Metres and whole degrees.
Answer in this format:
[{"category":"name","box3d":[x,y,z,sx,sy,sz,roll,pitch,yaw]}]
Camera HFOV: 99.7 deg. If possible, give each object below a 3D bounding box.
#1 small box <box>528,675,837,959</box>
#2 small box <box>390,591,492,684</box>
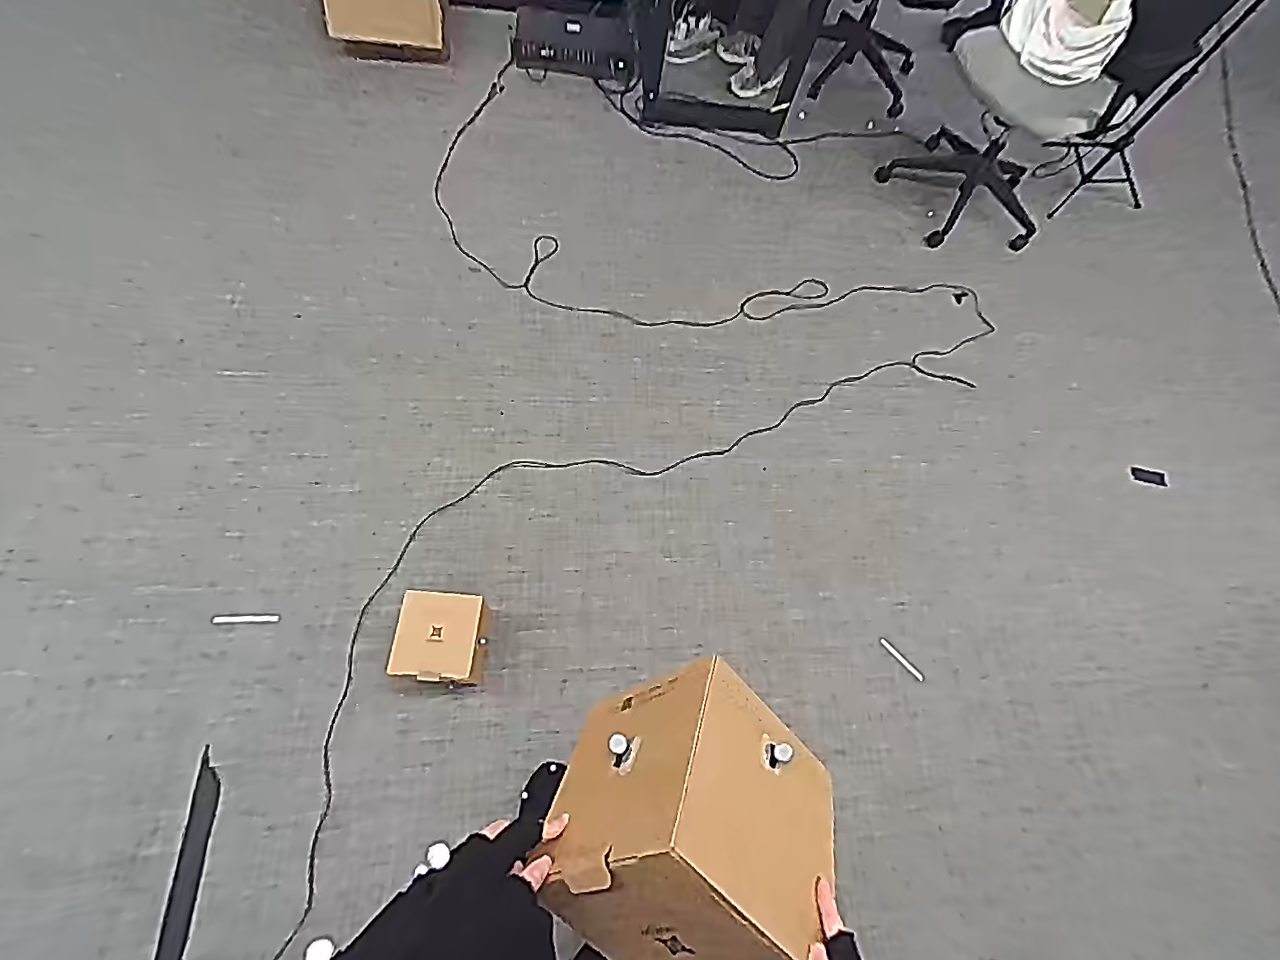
[{"category":"small box","box3d":[0.046,0.293,0.462,0.179,0.168,0.176,48,32,-11]},{"category":"small box","box3d":[-0.434,0.358,1.210,0.168,0.176,0.179,7,66,-6]}]
